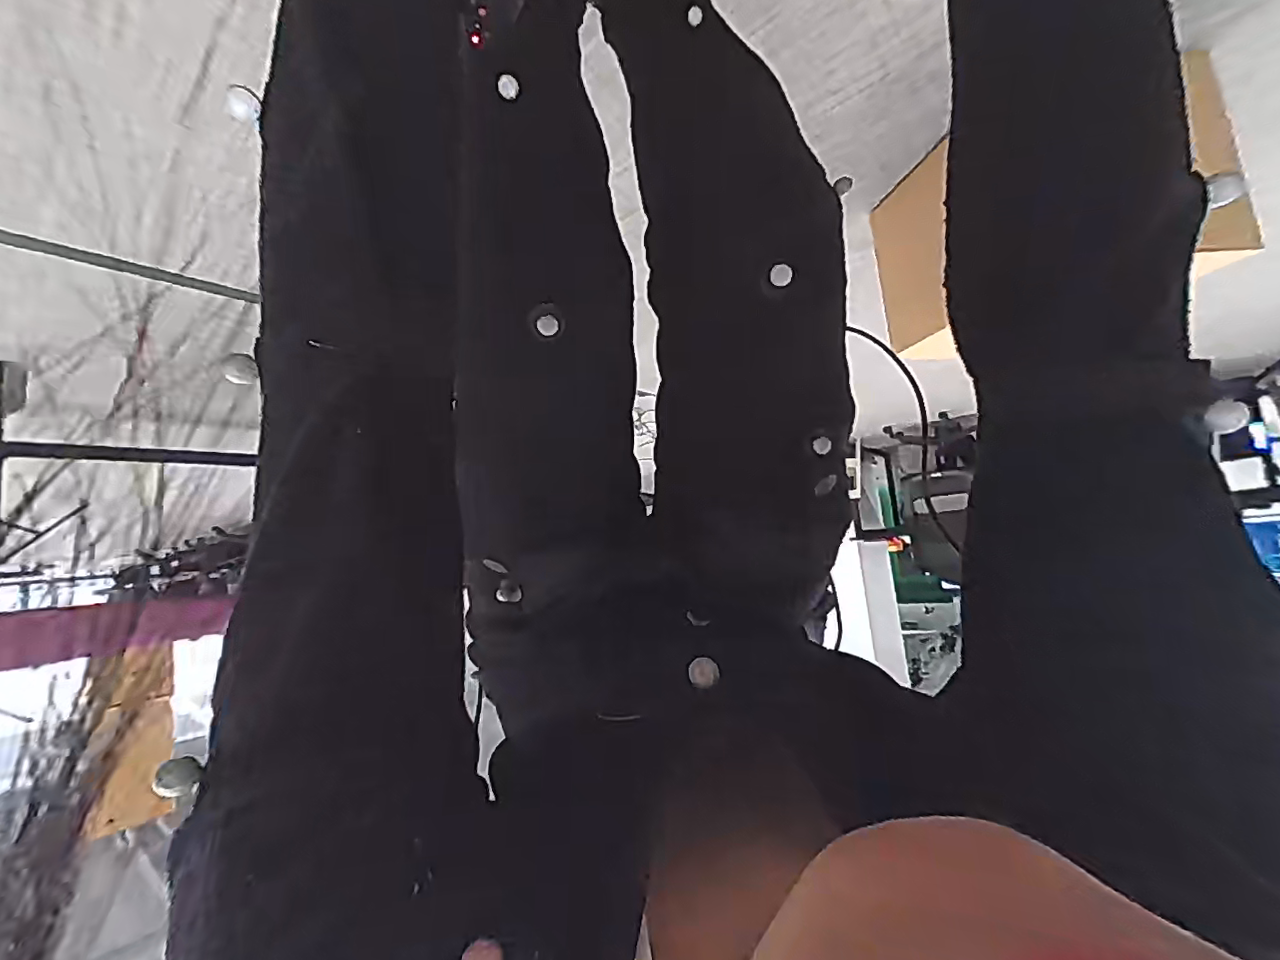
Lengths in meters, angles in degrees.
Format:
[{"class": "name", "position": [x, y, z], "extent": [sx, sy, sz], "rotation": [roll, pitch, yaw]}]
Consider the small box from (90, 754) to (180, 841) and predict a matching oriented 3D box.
[{"class": "small box", "position": [-1.441, 0.878, 1.541], "extent": [0.168, 0.176, 0.179], "rotation": [-13, 171, 43]}]

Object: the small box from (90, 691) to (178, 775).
[{"class": "small box", "position": [-1.454, 0.716, 1.554], "extent": [0.168, 0.176, 0.179], "rotation": [-12, 171, 43]}]
